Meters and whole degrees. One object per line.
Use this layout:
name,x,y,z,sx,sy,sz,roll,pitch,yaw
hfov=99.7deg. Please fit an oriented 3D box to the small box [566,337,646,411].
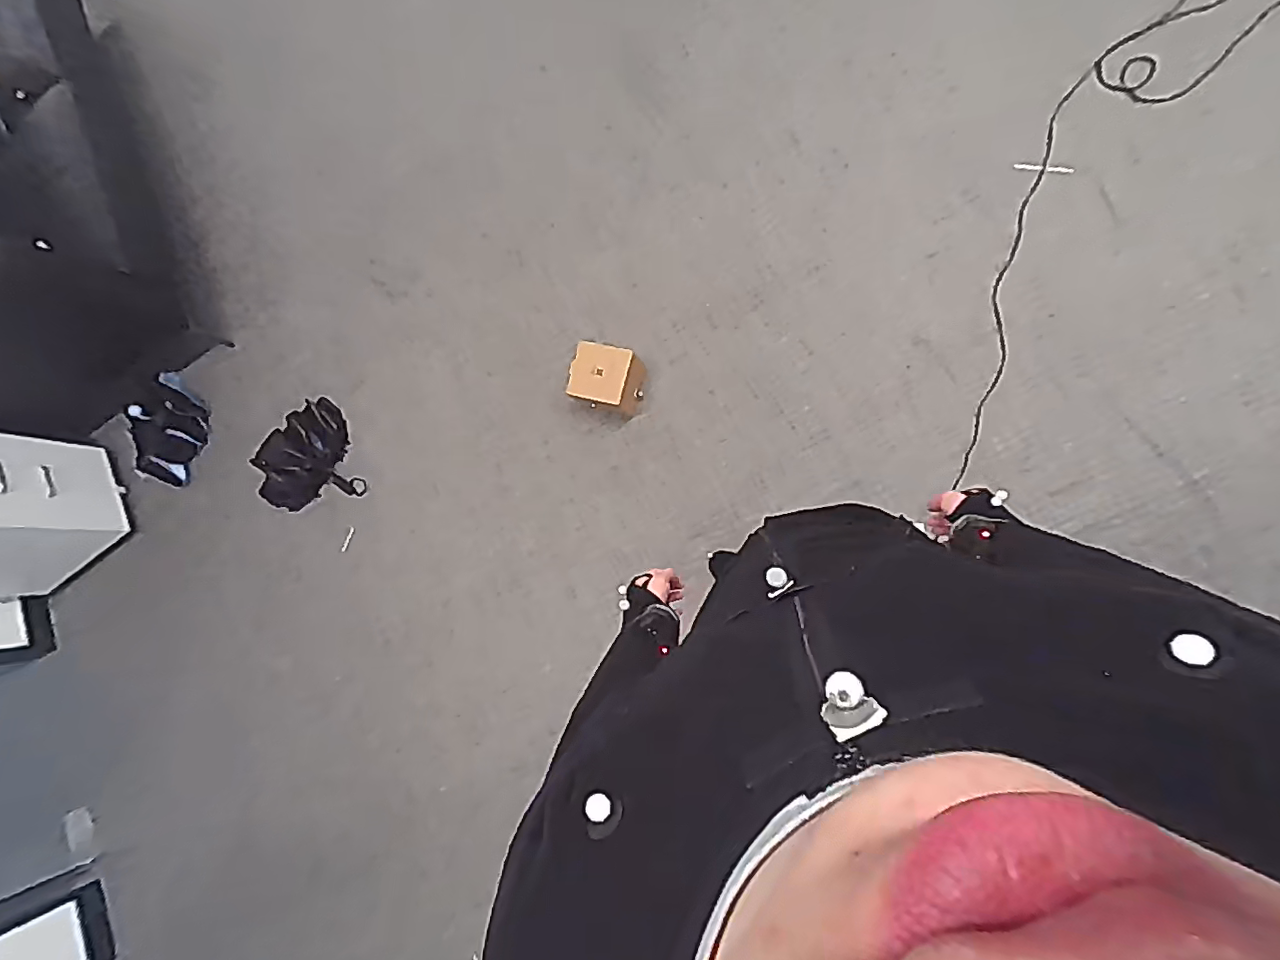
small box,-0.099,-0.319,1.648,0.179,0.176,0.168,14,89,16
